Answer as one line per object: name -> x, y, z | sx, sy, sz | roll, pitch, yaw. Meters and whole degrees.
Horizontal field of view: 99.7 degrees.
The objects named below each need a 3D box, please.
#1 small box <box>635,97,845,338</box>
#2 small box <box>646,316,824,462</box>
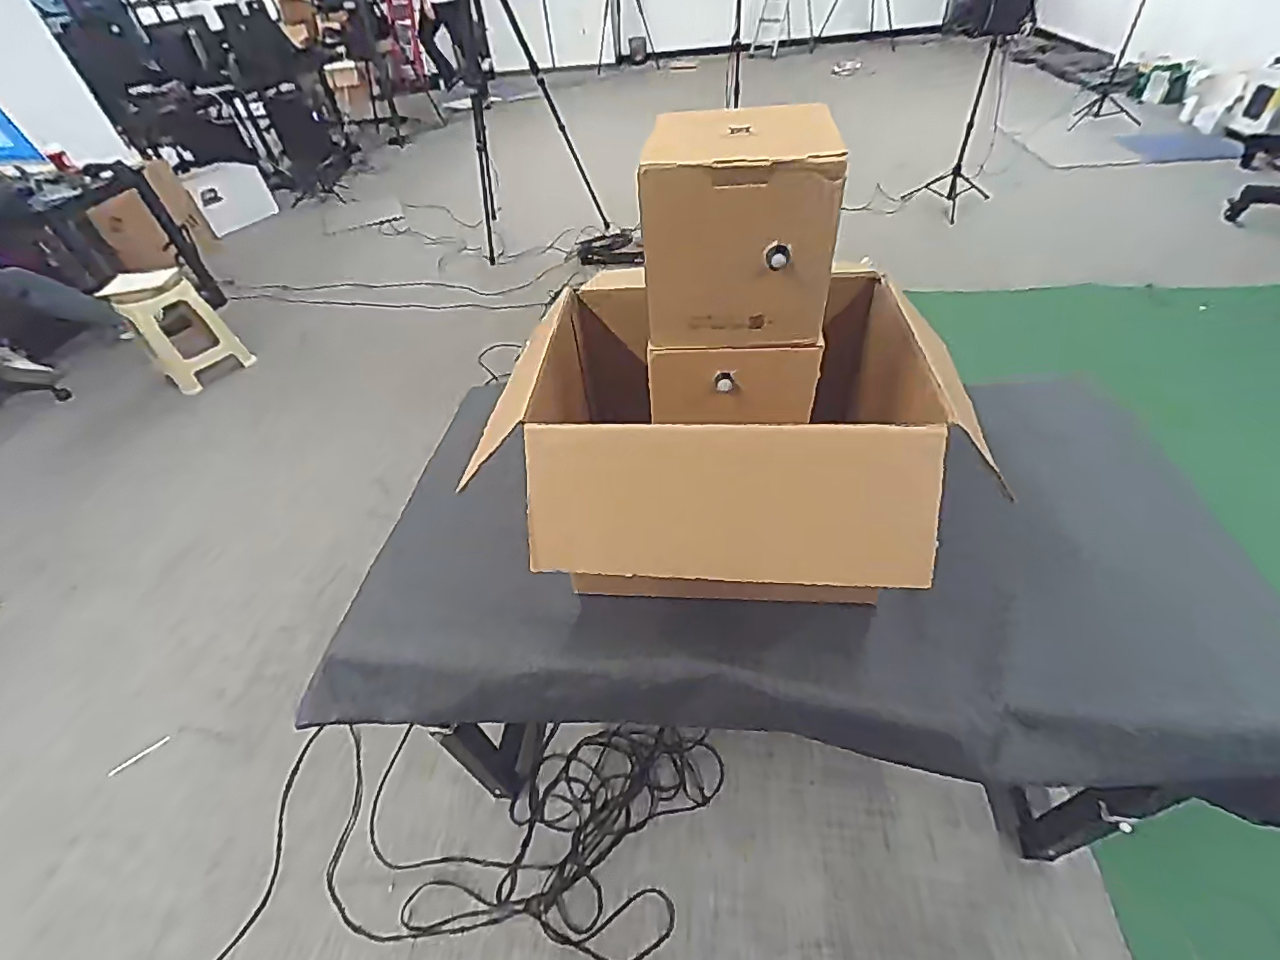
small box -> 0.093, -0.253, 0.532 | 0.168, 0.176, 0.179 | 2, 45, 8
small box -> 0.105, -0.134, 0.642 | 0.179, 0.176, 0.168 | 1, 46, 7
